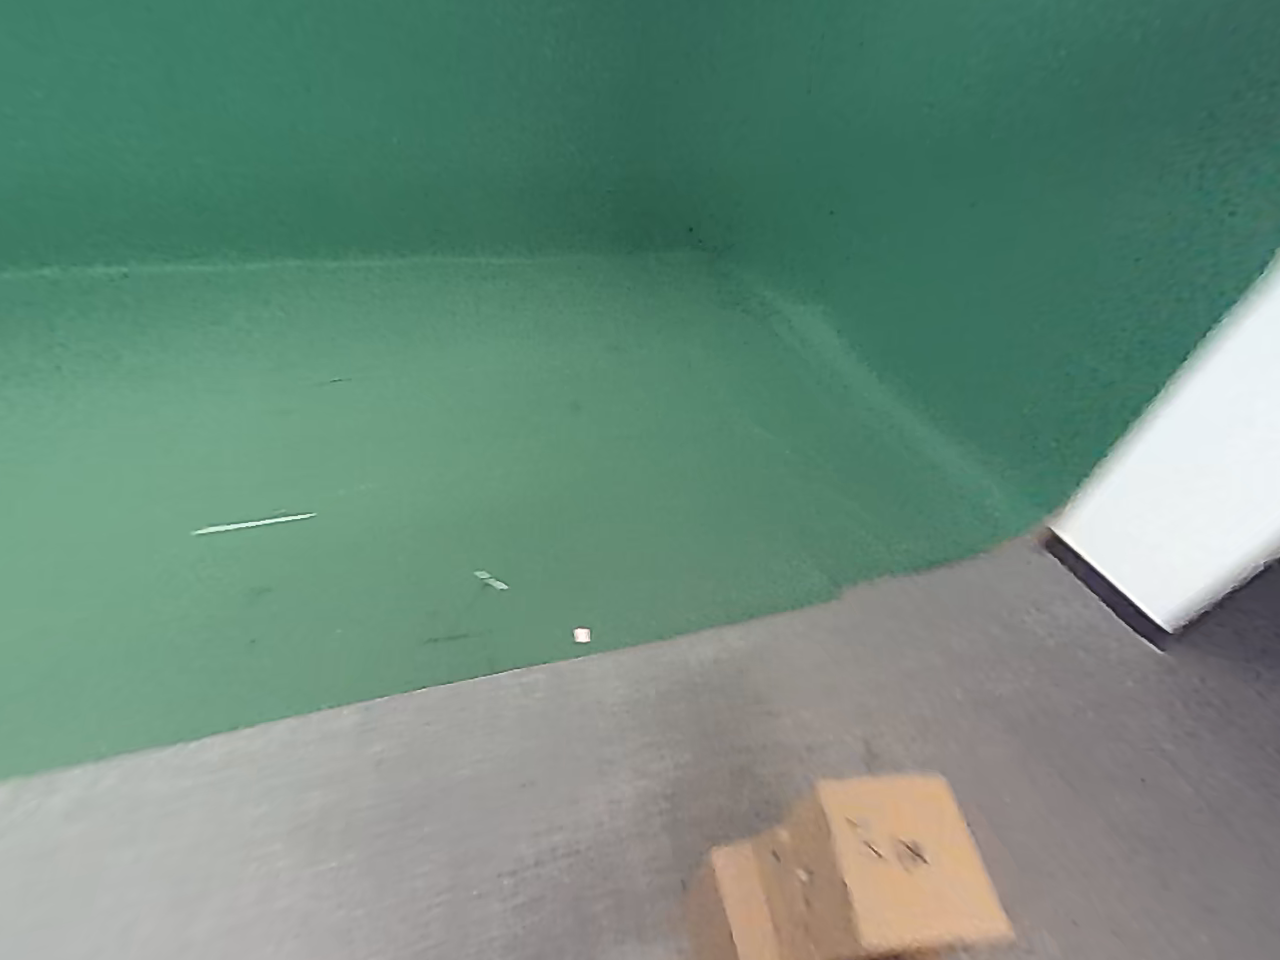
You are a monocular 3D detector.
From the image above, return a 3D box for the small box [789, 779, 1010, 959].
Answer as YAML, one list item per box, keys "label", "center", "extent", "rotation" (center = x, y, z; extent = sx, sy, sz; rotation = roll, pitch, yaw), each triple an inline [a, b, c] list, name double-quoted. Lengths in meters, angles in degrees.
- label: "small box"
  center: [0.314, 0.503, 0.699]
  extent: [0.179, 0.176, 0.168]
  rotation: [0, 44, -5]
